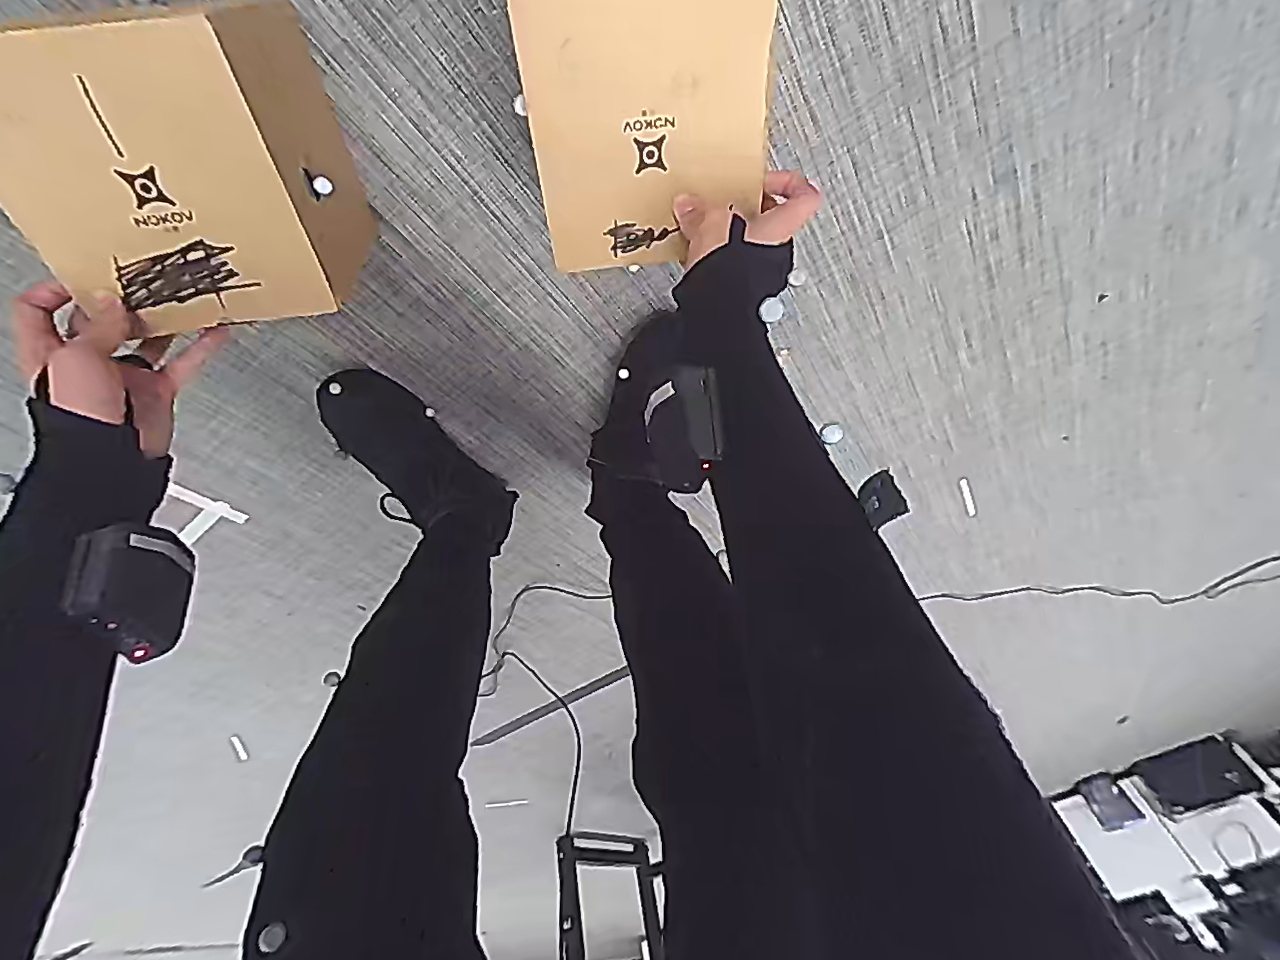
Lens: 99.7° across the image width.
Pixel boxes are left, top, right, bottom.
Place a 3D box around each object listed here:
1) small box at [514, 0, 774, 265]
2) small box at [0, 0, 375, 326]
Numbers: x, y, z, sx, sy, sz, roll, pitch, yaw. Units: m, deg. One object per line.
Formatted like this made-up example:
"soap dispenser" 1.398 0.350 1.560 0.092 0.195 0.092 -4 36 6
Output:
"small box" -0.001 -0.300 0.438 0.168 0.176 0.179 -7 134 -1
"small box" -0.326 -0.245 0.413 0.168 0.176 0.179 -10 134 -5
